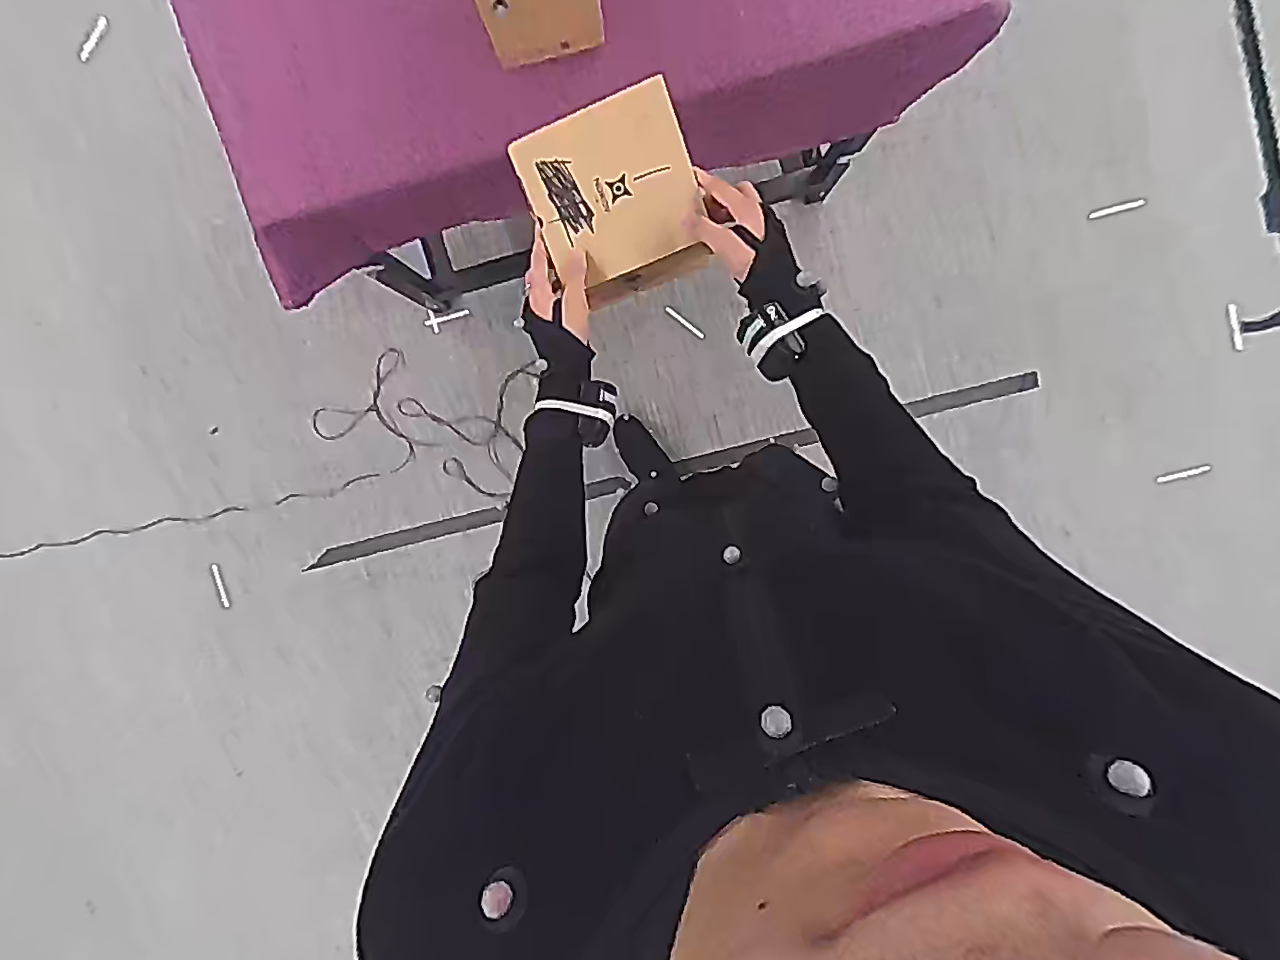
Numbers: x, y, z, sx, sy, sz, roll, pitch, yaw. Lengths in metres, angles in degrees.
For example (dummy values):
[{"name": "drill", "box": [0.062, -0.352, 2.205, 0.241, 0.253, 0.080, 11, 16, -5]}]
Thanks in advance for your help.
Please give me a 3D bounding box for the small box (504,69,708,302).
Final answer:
[{"name": "small box", "box": [-0.029, -0.323, 0.639, 0.179, 0.176, 0.168, -19, 100, 8]}]
